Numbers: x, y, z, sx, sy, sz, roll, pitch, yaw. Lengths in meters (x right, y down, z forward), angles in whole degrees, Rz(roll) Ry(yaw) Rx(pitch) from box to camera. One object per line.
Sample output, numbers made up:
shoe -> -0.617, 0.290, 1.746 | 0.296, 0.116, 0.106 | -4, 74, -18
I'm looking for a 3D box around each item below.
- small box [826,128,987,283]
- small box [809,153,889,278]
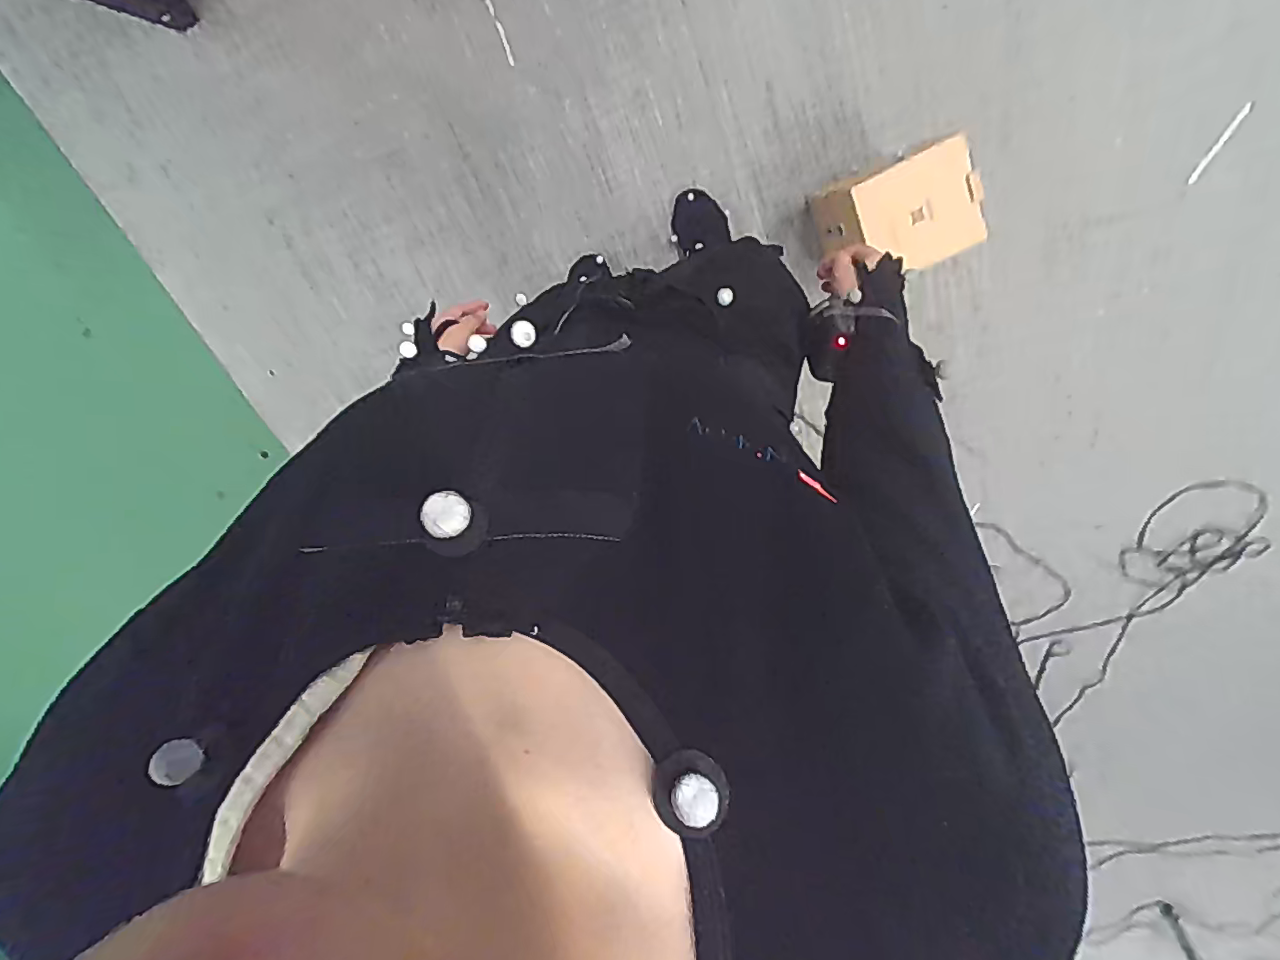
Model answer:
small box -> 0.441, -0.460, 0.917 | 0.179, 0.176, 0.168 | -23, 112, 16
small box -> 0.451, -0.523, 1.067 | 0.168, 0.176, 0.179 | -23, 113, 15
